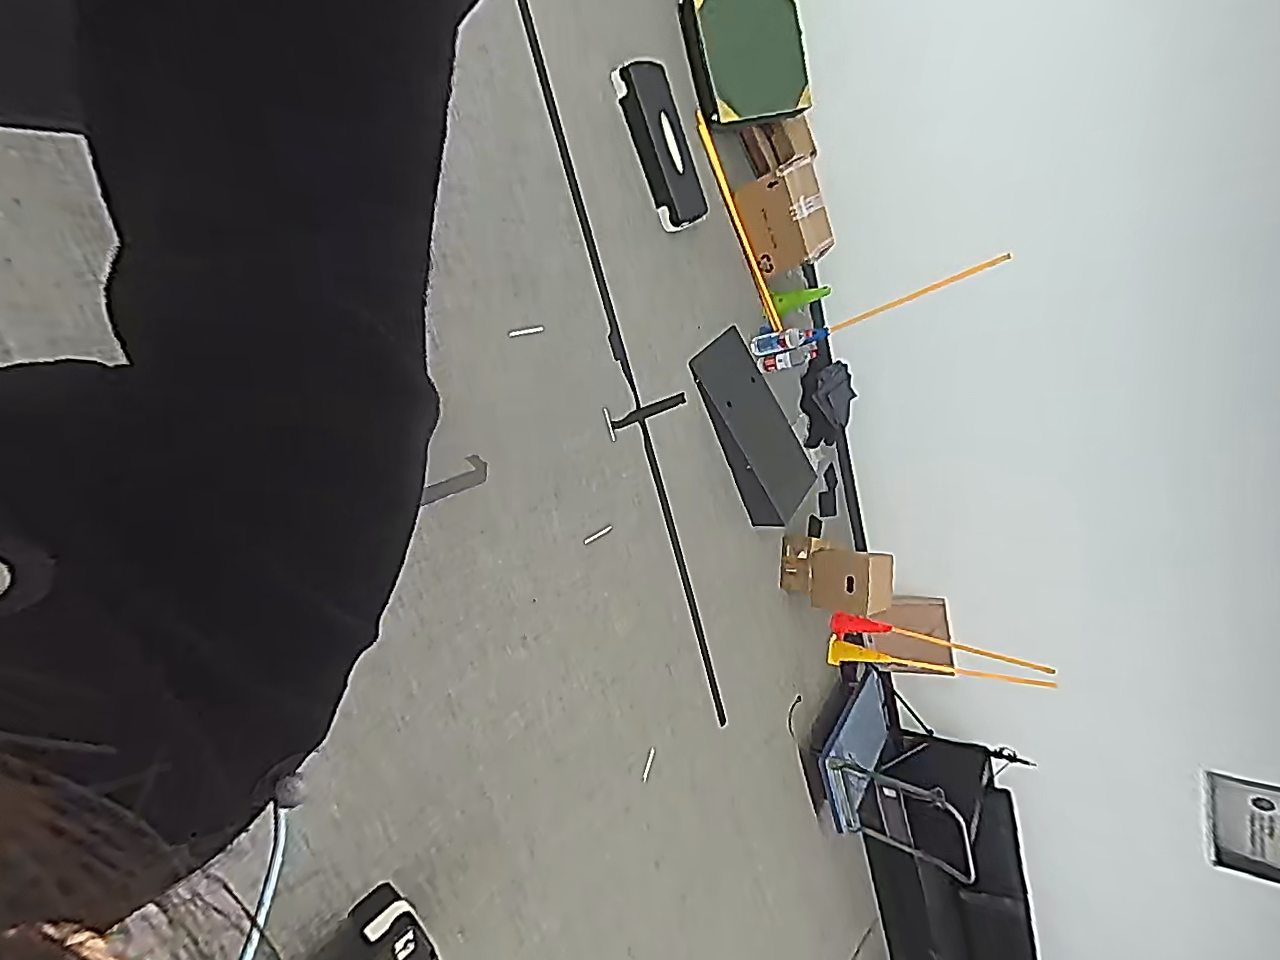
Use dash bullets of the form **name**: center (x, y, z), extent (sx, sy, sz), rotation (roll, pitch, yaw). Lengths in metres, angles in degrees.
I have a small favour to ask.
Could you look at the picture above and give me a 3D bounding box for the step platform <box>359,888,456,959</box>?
- **step platform**: center (-0.756, 1.317, 1.221), extent (0.684, 0.204, 0.286), rotation (-20, 102, -47)
